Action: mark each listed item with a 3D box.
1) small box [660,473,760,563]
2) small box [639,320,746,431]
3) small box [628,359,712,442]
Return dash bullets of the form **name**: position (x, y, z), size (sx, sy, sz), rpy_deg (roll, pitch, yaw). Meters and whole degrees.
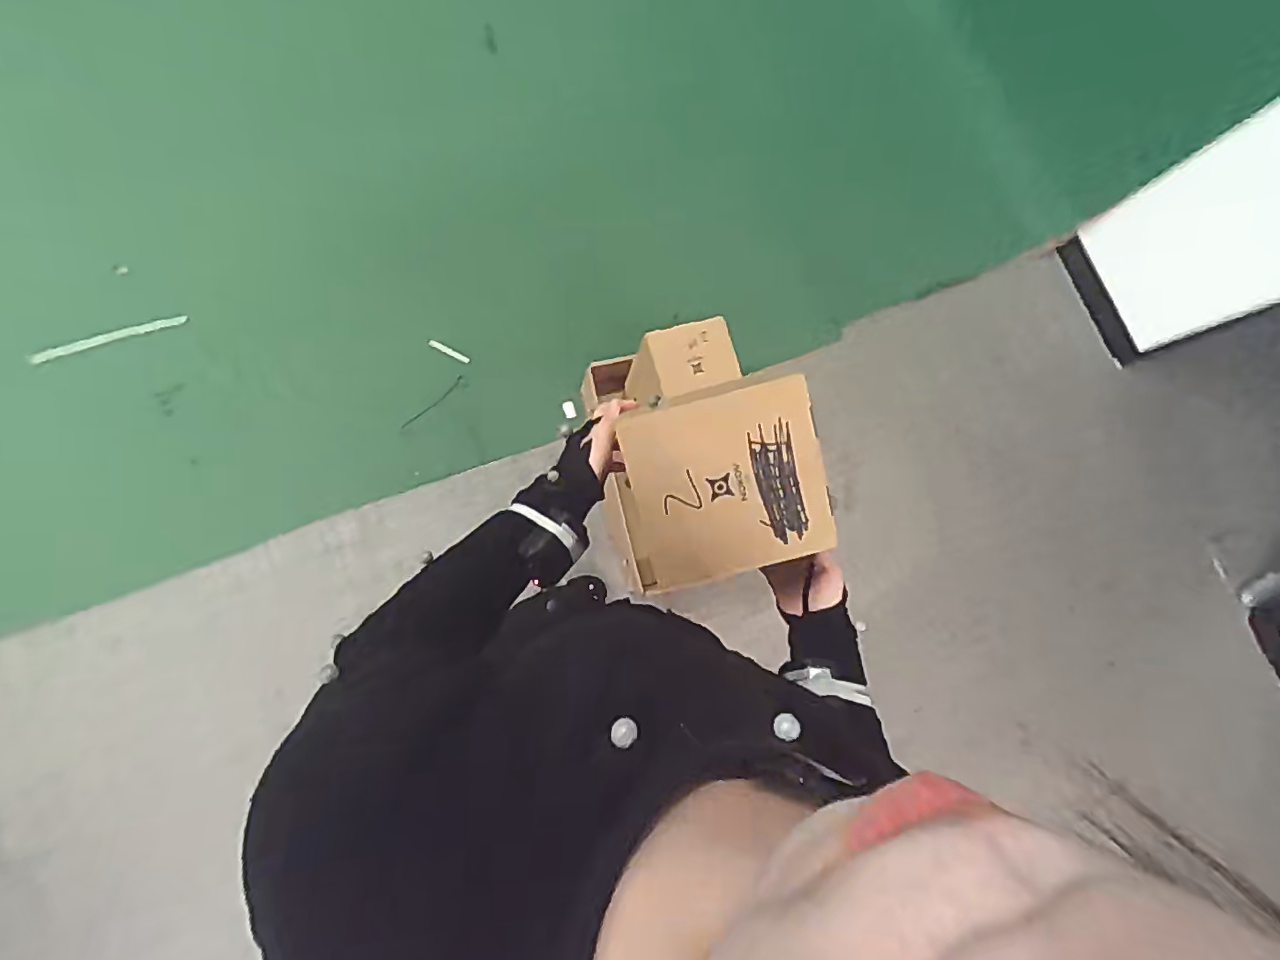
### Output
- **small box**: position (0.153, 0.094, 1.263), size (0.179, 0.176, 0.168), rpy_deg (-14, 82, -11)
- **small box**: position (0.103, -0.210, 1.142), size (0.168, 0.176, 0.179), rpy_deg (-14, 84, -10)
- **small box**: position (0.081, -0.201, 1.305), size (0.179, 0.176, 0.168), rpy_deg (-13, 84, -9)
